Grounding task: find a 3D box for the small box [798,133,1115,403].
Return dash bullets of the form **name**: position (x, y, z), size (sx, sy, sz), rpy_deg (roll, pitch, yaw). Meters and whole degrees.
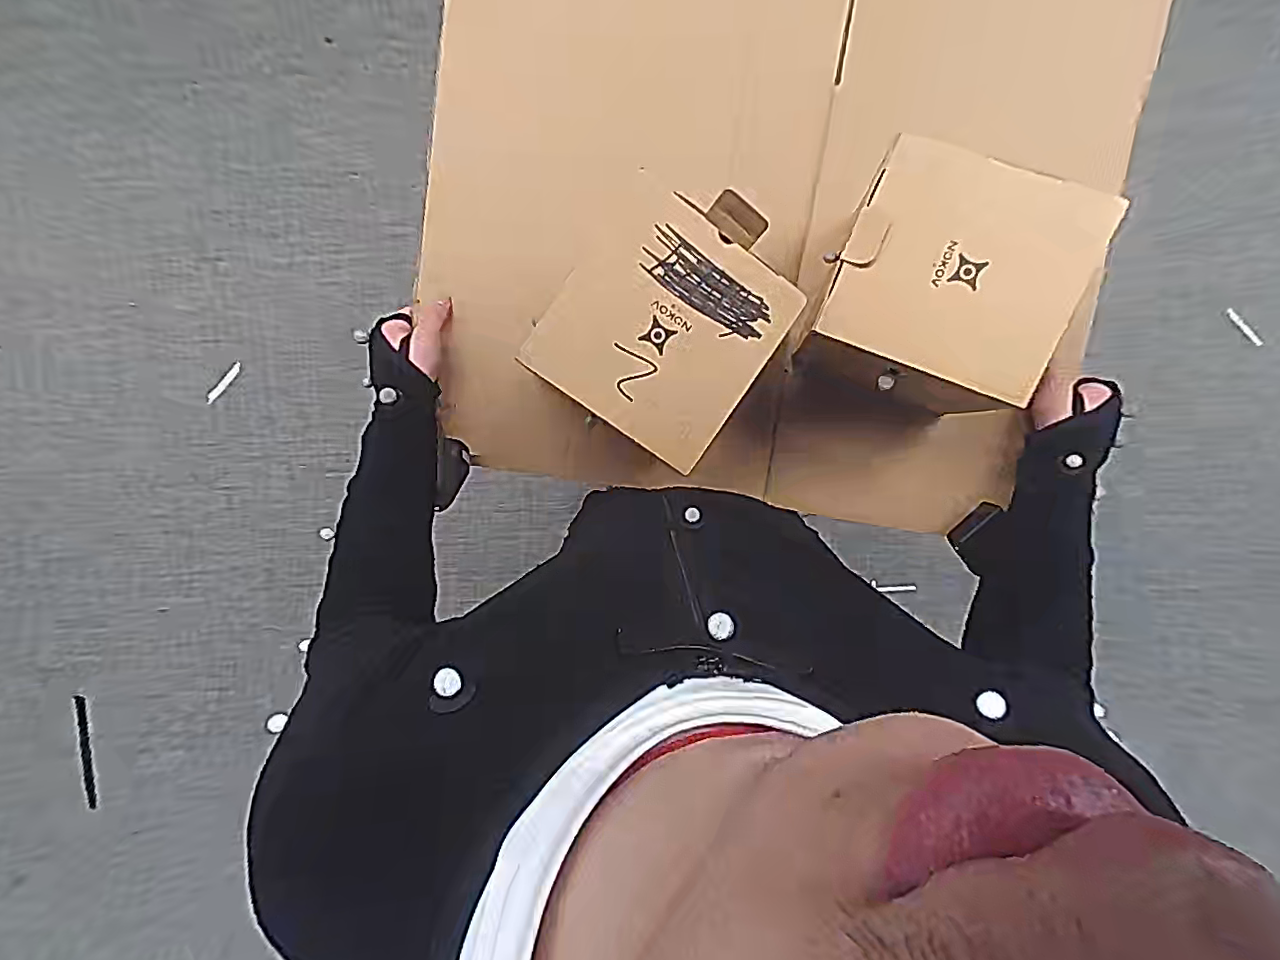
- **small box**: position (0.268, -0.179, 0.511), size (0.179, 0.176, 0.168), rpy_deg (23, 99, 8)
